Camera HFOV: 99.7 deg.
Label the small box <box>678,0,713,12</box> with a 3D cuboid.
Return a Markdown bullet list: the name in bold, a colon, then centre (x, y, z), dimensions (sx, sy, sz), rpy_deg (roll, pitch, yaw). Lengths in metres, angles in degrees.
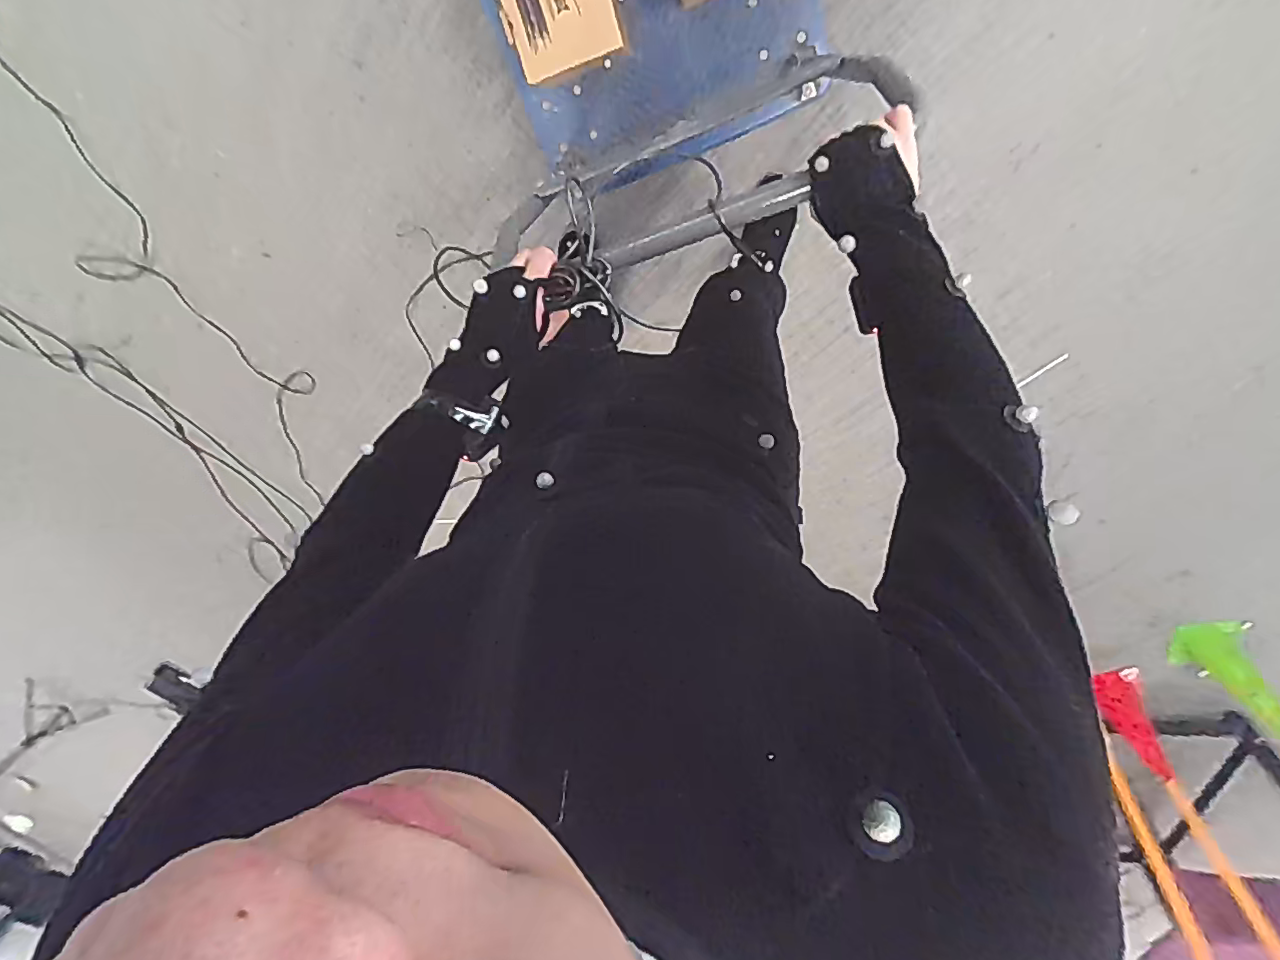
- **small box**: centre (0.116, -0.883, 0.849), dimensions (0.168, 0.176, 0.179), rpy_deg (-13, 123, 15)
